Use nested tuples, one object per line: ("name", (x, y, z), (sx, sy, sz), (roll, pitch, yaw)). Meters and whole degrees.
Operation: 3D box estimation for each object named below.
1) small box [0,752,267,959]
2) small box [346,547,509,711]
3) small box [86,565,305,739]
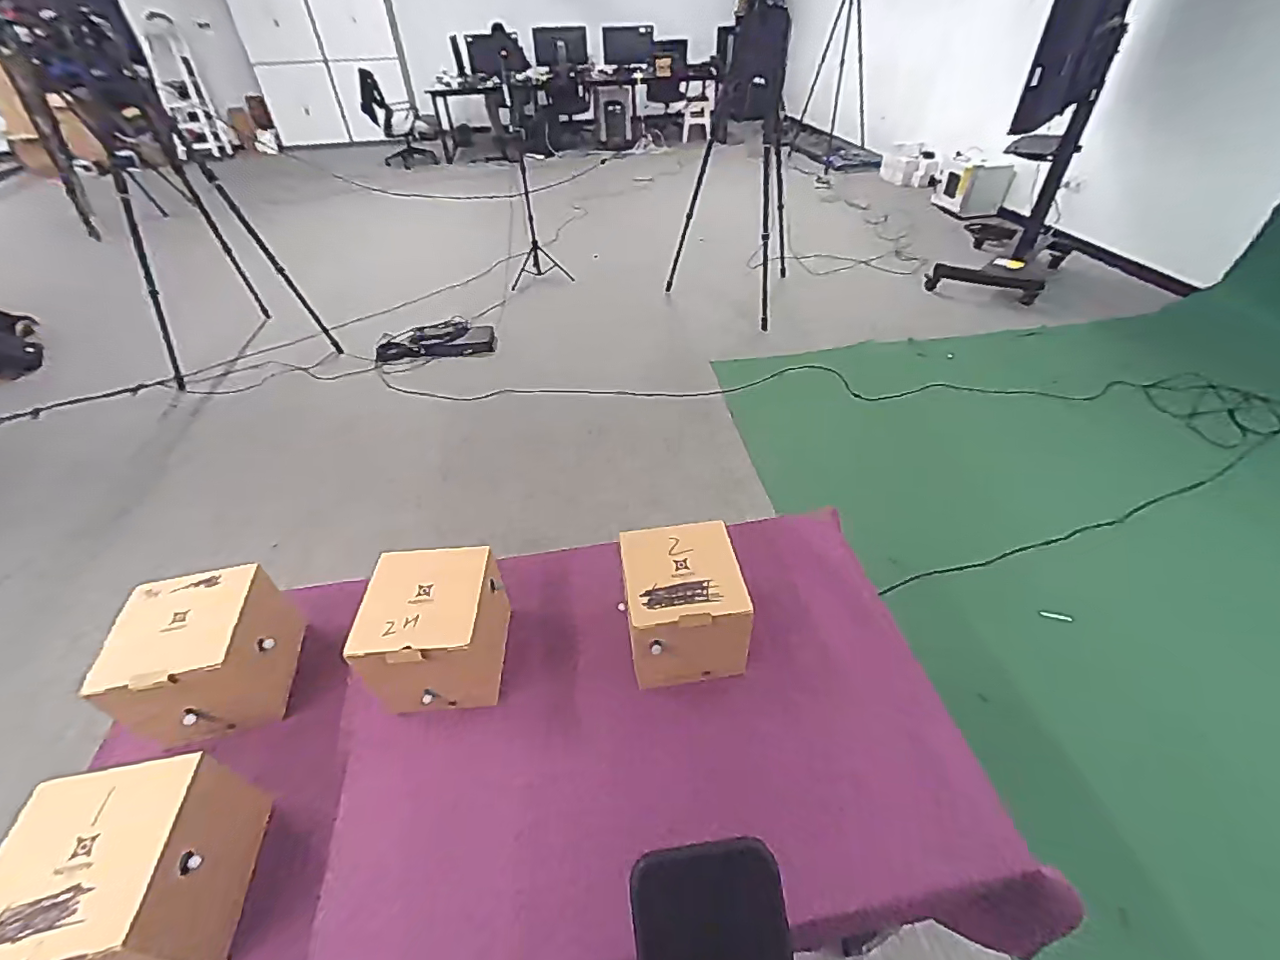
("small box", (-0.553, 0.435, 0.592), (0.168, 0.176, 0.179), (-8, 41, -7))
("small box", (-0.301, 0.223, 0.814), (0.168, 0.176, 0.179), (-4, 42, 0))
("small box", (-0.626, 0.257, 0.794), (0.168, 0.176, 0.179), (-10, 44, -9))
